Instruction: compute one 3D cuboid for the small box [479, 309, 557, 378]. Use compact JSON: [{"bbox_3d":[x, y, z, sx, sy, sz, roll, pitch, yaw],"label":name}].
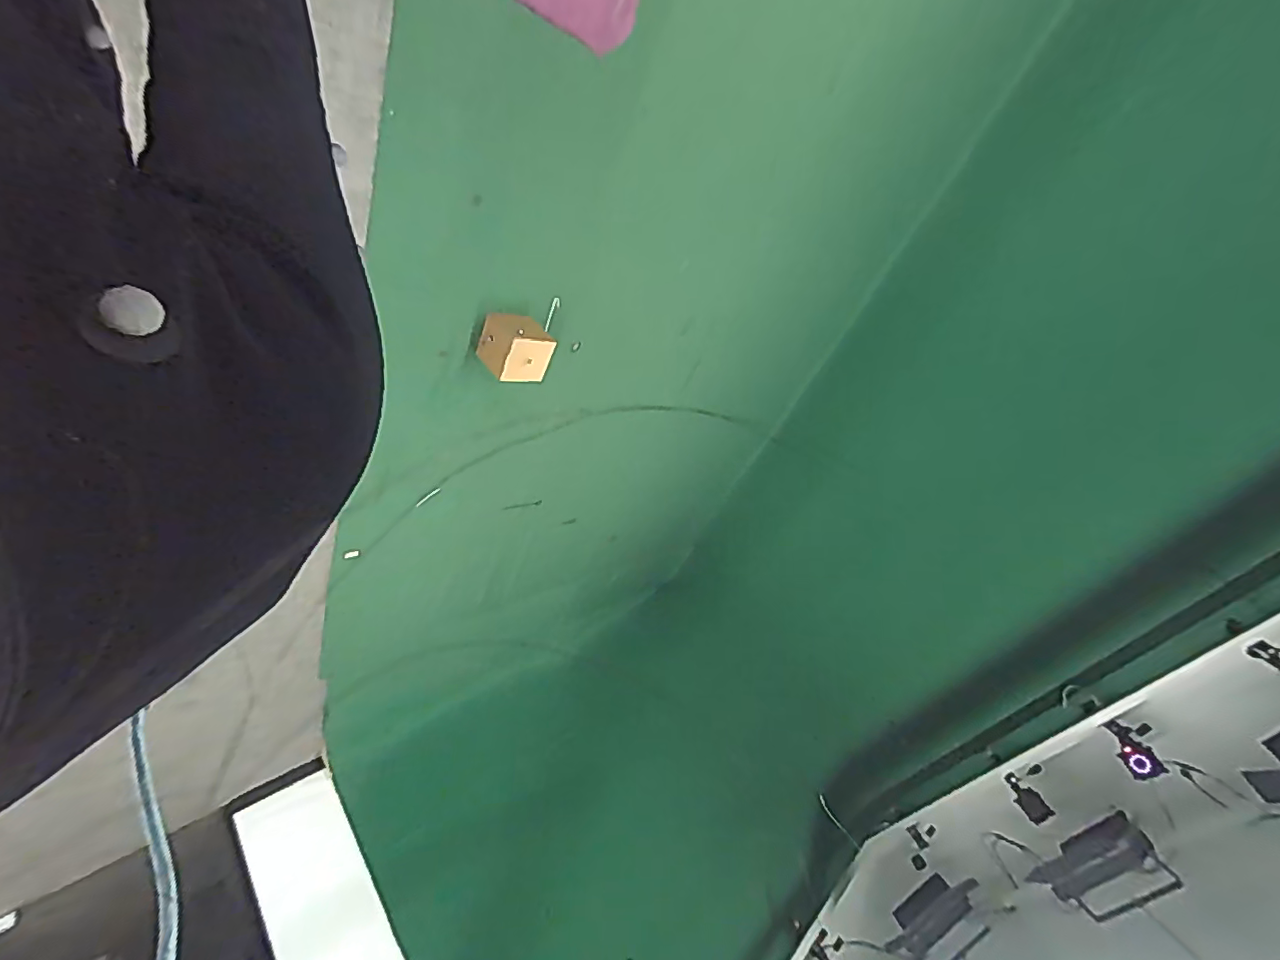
[{"bbox_3d":[-0.420,-0.467,1.851,0.179,0.176,0.168,-11,141,-46],"label":"small box"}]
